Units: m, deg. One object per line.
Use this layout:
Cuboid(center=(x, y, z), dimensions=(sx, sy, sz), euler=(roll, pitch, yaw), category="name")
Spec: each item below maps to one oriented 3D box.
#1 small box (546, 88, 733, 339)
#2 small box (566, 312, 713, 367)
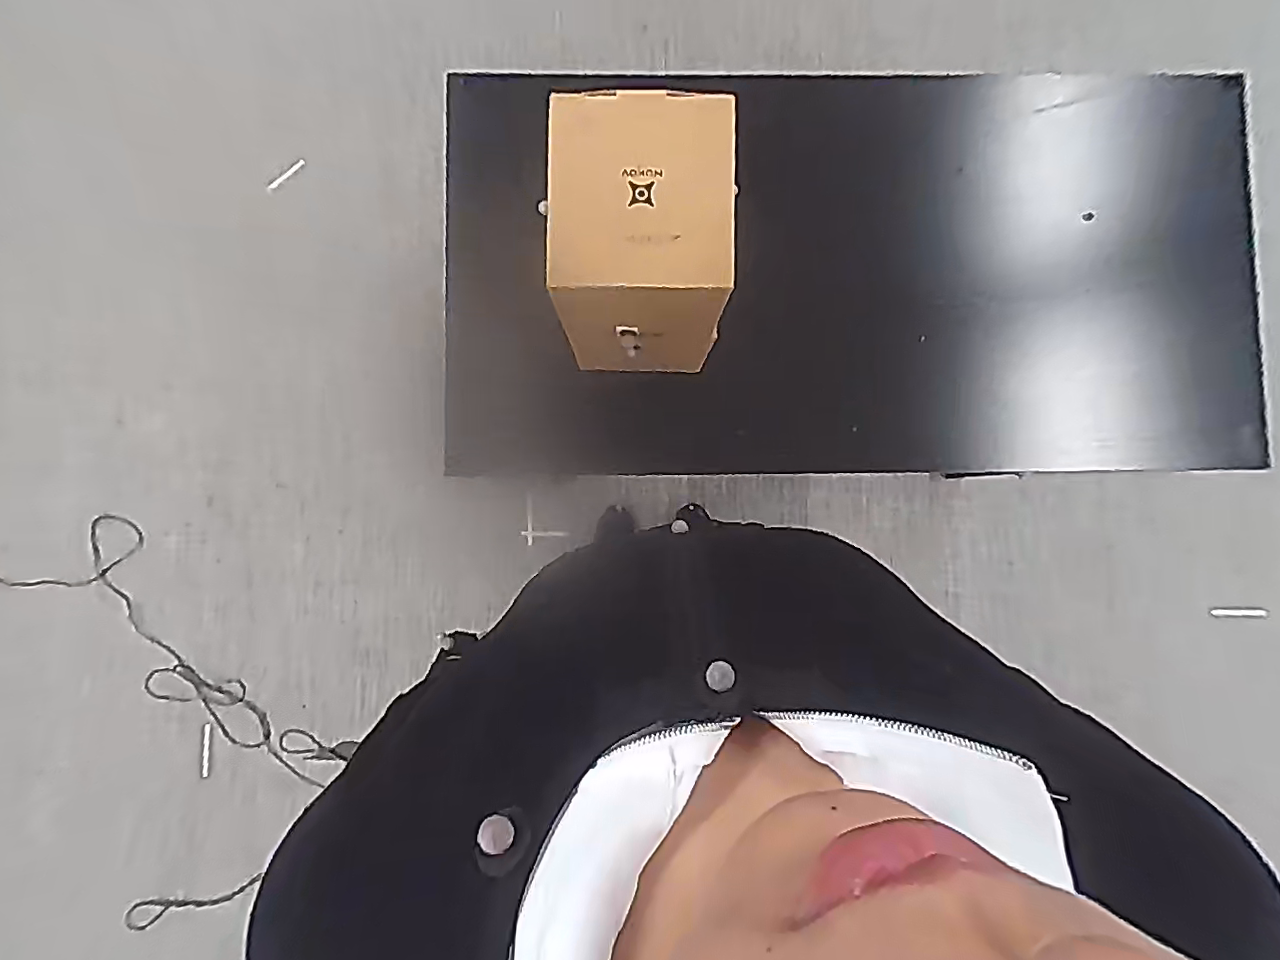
Cuboid(center=(0.000, -0.256, 0.553), dimensions=(0.168, 0.176, 0.179), euler=(0, 88, 1), category="small box")
Cuboid(center=(0.000, -0.250, 0.715), dimensions=(0.179, 0.176, 0.168), euler=(1, 88, -2), category="small box")
